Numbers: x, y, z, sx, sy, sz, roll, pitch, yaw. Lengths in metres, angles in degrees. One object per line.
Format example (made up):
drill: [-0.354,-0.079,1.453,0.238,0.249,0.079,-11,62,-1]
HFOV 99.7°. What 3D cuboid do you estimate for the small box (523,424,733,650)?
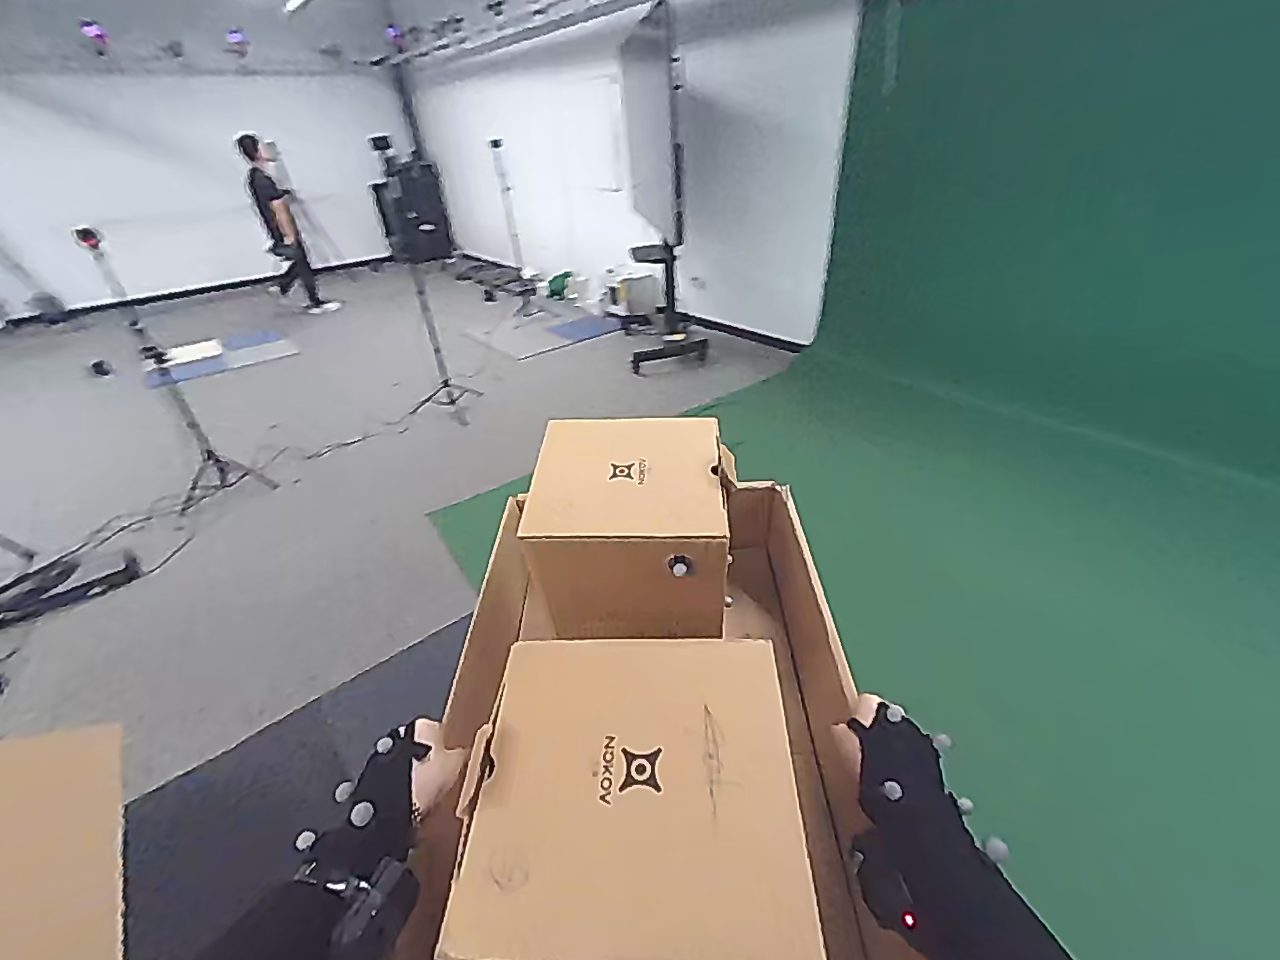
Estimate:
small box: [-0.002,0.059,0.549,0.179,0.176,0.168,0,42,4]

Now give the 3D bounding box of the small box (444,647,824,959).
small box: [0.005,0.228,0.351,0.179,0.176,0.168,-1,41,4]
